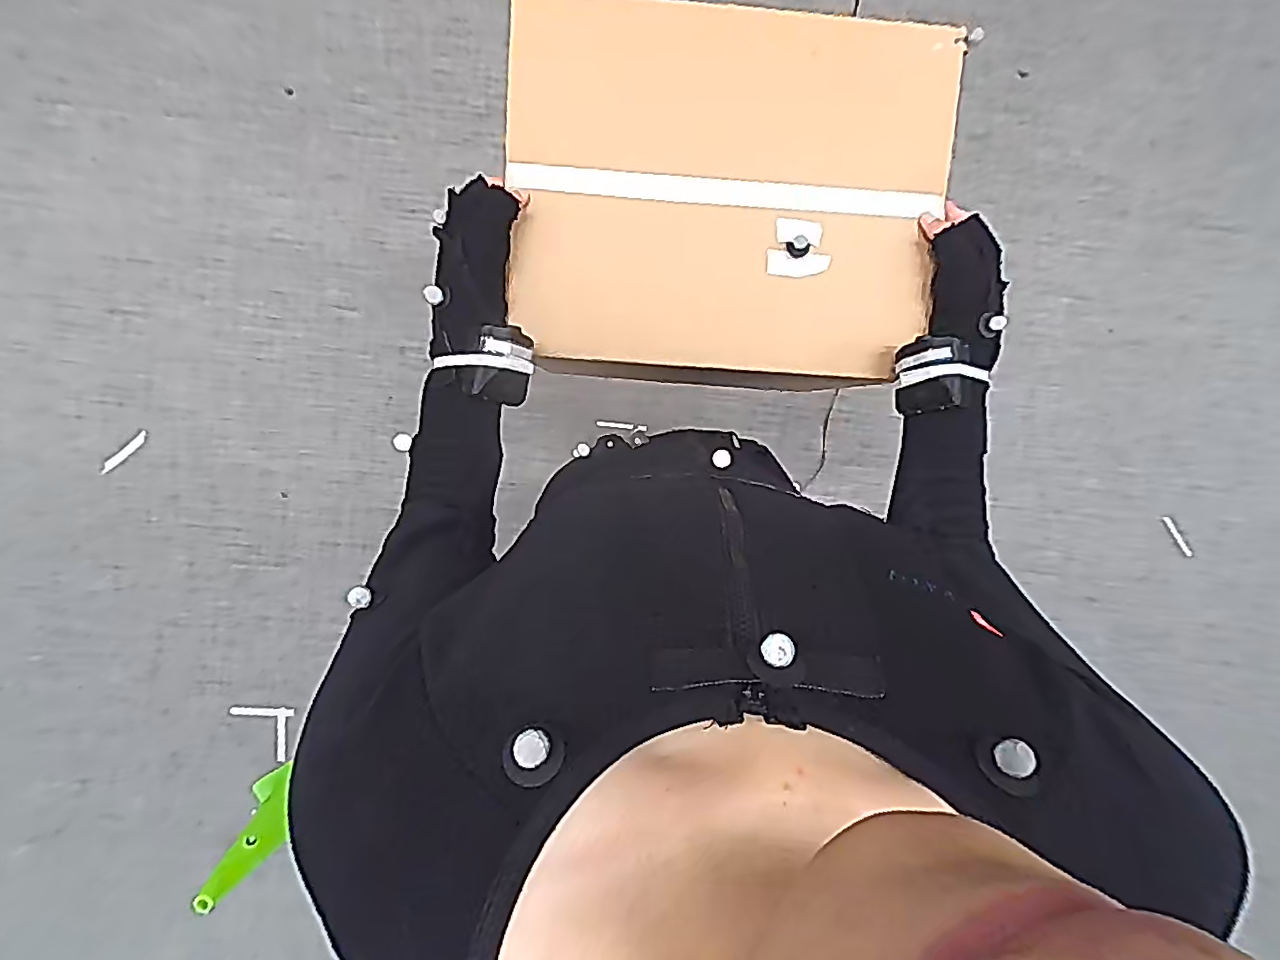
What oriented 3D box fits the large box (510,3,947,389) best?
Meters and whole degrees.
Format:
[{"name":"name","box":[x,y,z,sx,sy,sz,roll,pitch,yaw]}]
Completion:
[{"name":"large box","box":[0.072,-0.280,0.652,0.408,0.320,0.320,3,97,-3]}]

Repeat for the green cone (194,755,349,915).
[{"name":"green cone","box":[-0.949,0.909,1.354,0.202,0.368,0.200,-32,94,3]}]
